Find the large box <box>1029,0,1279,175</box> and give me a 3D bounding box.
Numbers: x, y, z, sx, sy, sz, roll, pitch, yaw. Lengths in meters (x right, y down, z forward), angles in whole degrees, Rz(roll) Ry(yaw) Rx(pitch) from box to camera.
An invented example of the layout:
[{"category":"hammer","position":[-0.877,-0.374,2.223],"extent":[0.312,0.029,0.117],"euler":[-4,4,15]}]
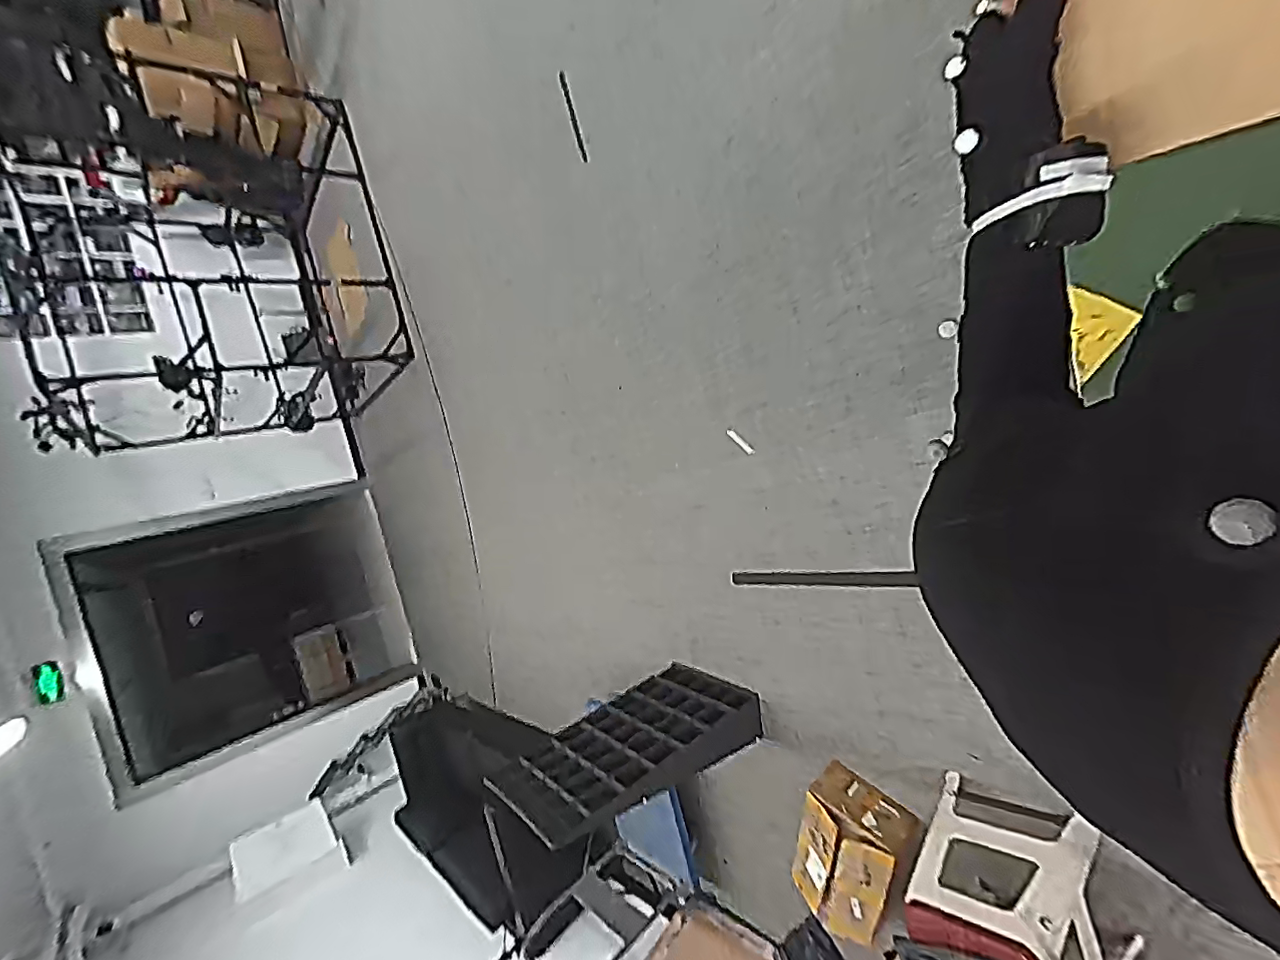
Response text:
[{"category":"large box","position":[0.534,-0.453,0.368],"extent":[0.408,0.320,0.320],"euler":[0,113,48]}]
